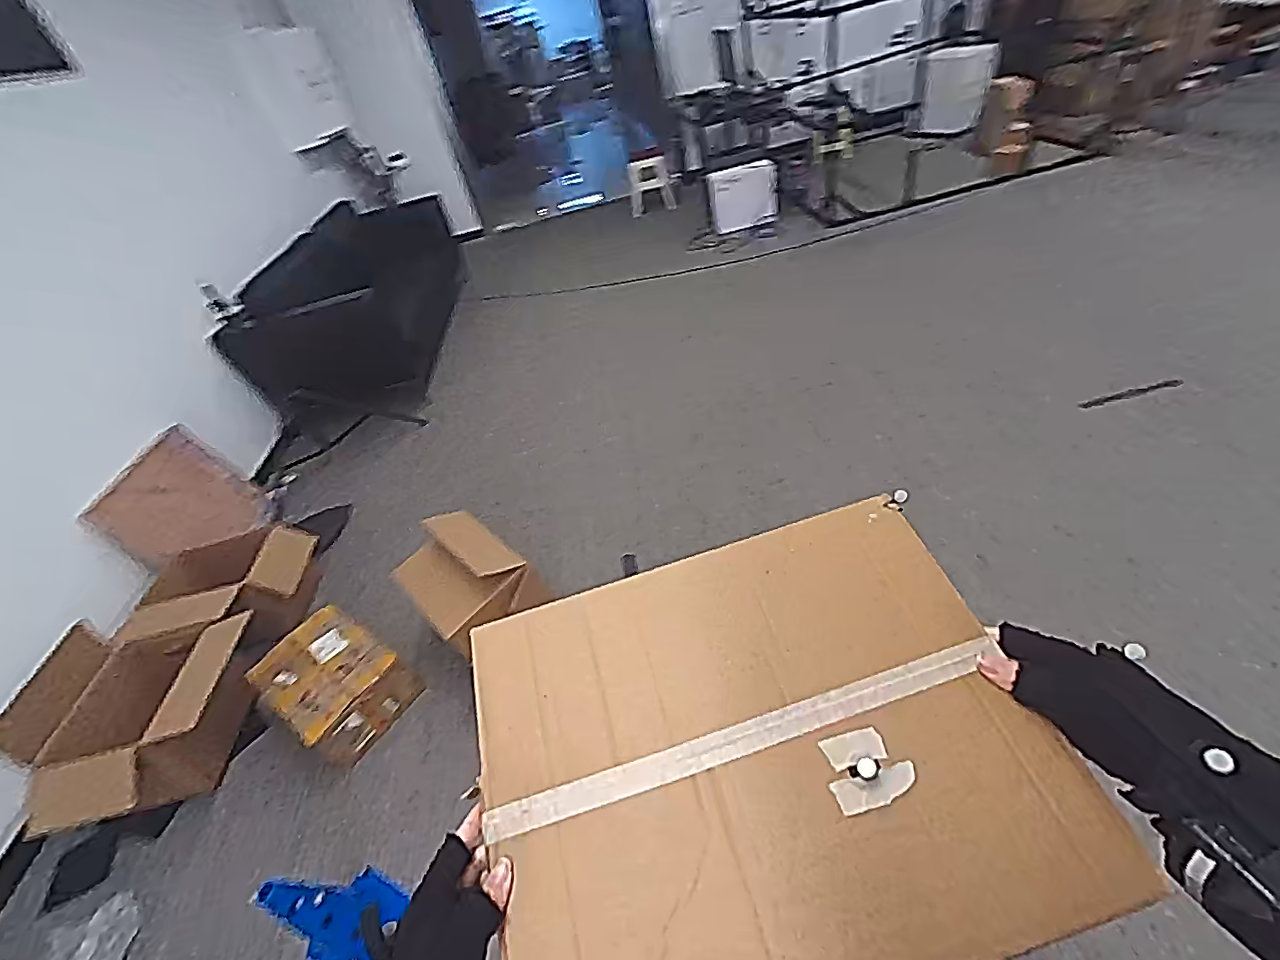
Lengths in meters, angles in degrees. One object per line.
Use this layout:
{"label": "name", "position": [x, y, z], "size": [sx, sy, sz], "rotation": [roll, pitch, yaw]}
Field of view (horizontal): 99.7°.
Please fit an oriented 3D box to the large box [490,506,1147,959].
{"label": "large box", "position": [0.111, 0.287, 0.532], "size": [0.408, 0.320, 0.320], "rotation": [-18, 53, -3]}
